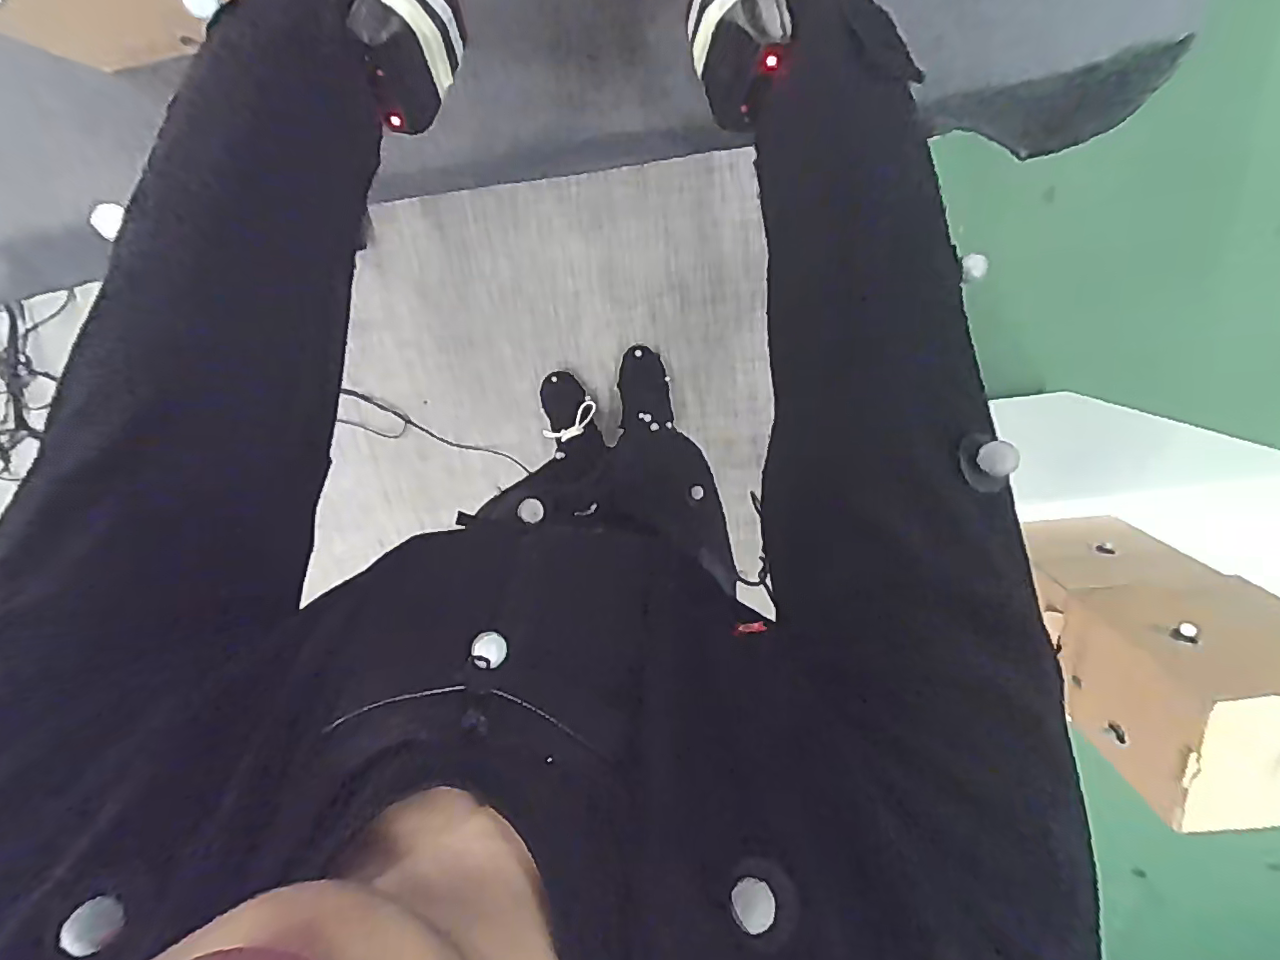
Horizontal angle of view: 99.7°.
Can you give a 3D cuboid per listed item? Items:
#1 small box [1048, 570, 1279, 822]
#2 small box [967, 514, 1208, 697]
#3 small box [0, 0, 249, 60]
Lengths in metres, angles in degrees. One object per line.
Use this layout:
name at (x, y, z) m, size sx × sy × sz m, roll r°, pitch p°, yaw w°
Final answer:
small box at (0.571, 0.212, 0.561) m, size 0.179 × 0.176 × 0.168 m, roll -9°, pitch 112°, yaw 3°
small box at (0.566, 0.157, 0.714) m, size 0.179 × 0.176 × 0.168 m, roll -6°, pitch 111°, yaw 3°
small box at (-0.429, -0.439, 0.375) m, size 0.168 × 0.176 × 0.179 m, roll -8°, pitch 110°, yaw 4°
